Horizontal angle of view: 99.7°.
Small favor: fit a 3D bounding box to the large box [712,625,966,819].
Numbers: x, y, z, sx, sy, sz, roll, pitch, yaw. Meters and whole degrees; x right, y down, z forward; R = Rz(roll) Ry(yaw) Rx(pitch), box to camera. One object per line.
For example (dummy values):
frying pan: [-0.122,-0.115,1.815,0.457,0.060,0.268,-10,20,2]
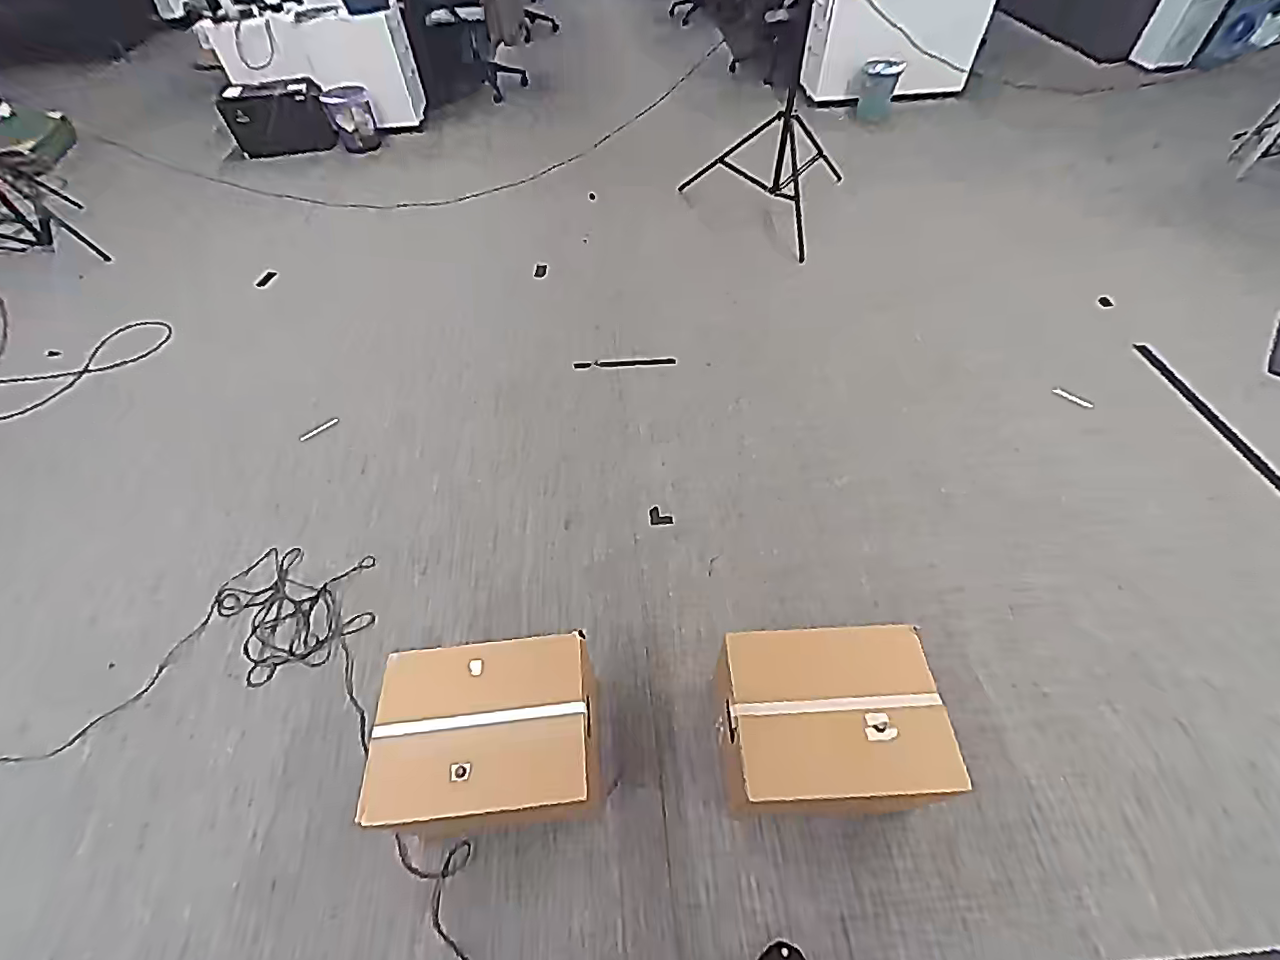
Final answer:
large box: [0.388,0.531,1.180,0.408,0.320,0.320,-2,53,-1]
